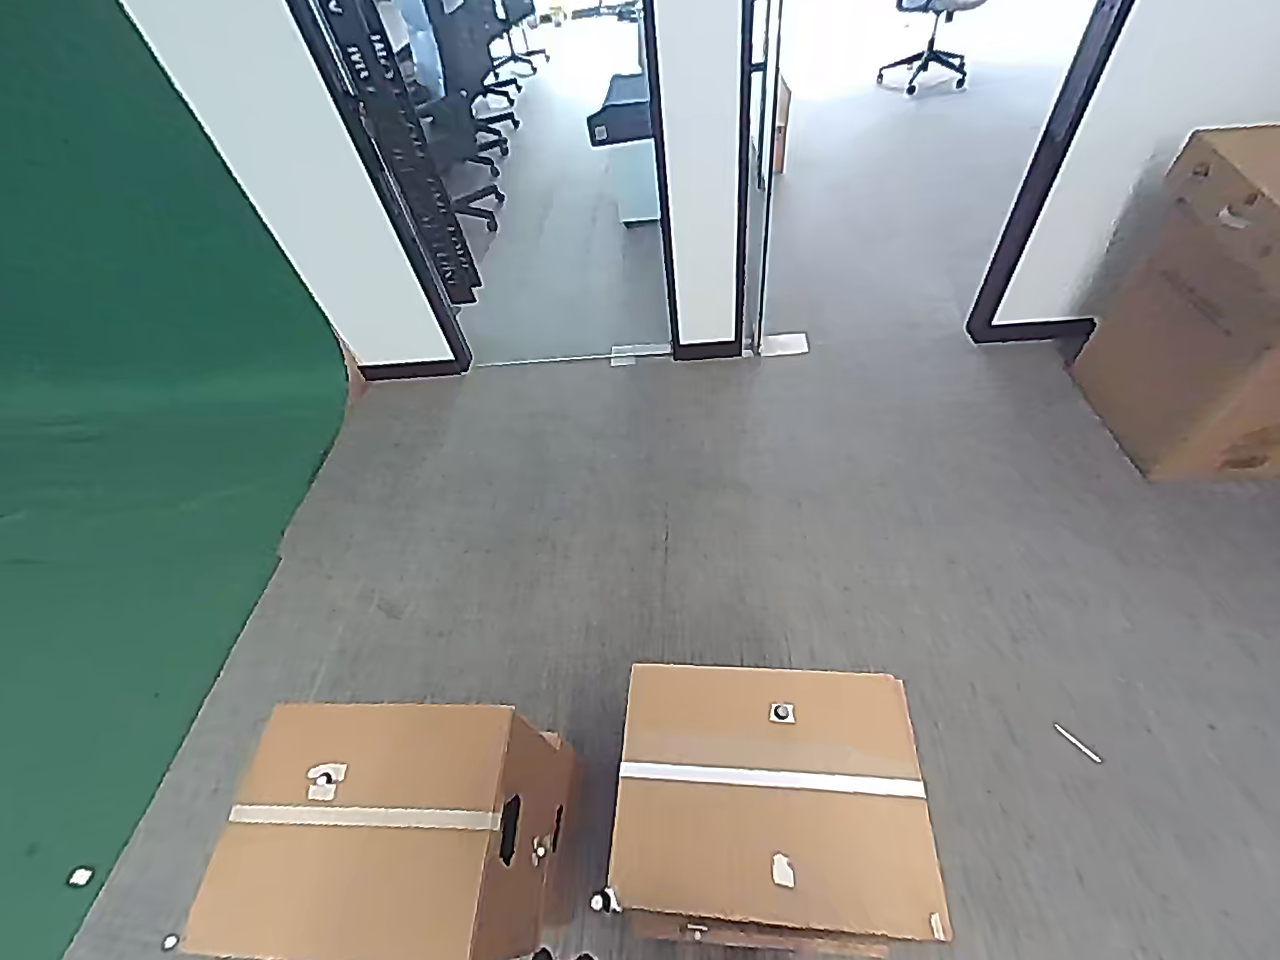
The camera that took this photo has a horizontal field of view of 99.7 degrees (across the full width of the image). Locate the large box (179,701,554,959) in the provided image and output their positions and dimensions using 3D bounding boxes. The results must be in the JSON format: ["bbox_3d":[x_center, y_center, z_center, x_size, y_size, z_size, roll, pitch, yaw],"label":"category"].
[{"bbox_3d":[-0.385,0.566,0.890,0.408,0.320,0.320,-3,53,8],"label":"large box"}]
